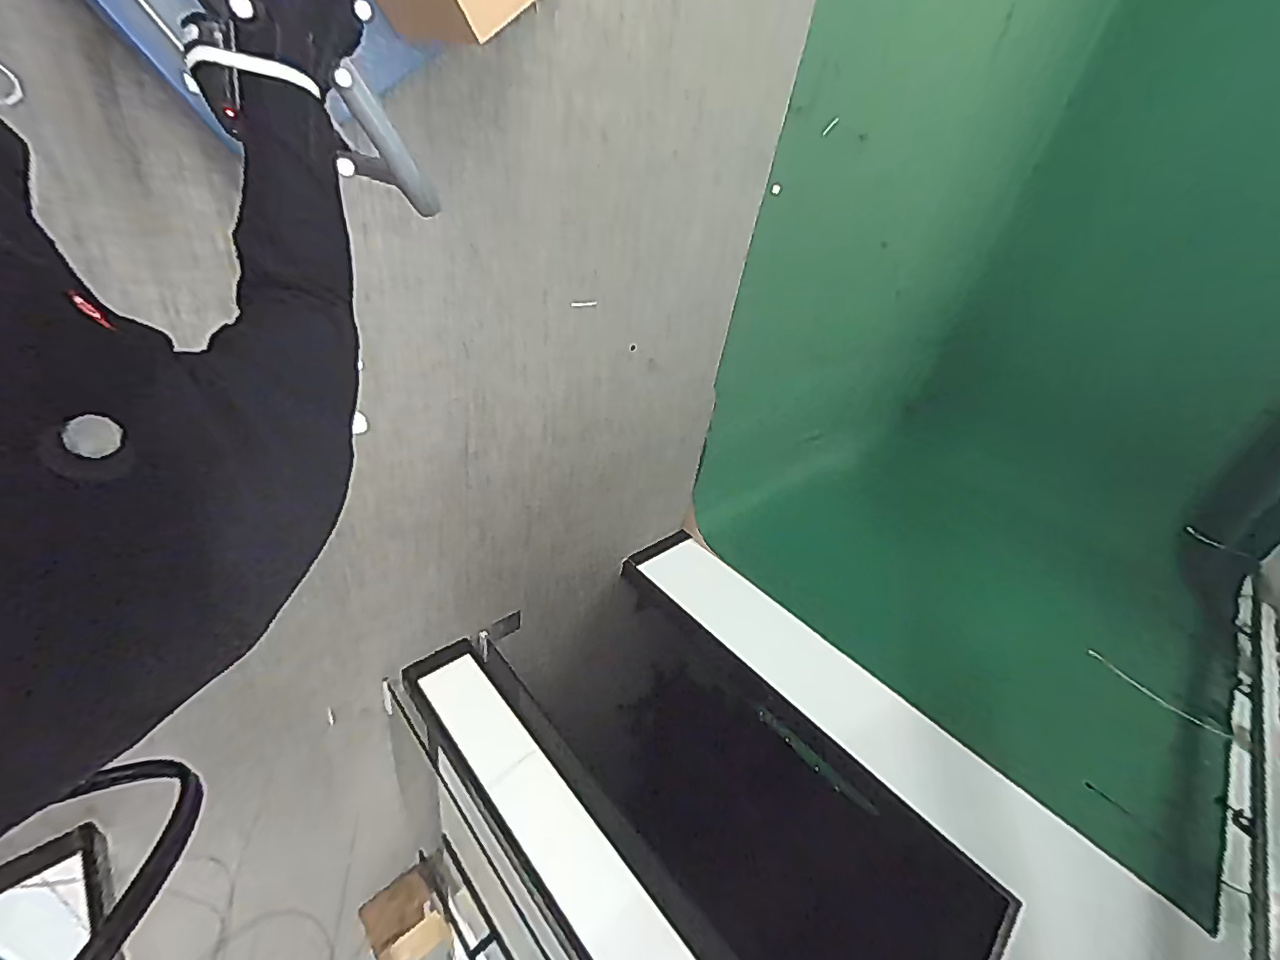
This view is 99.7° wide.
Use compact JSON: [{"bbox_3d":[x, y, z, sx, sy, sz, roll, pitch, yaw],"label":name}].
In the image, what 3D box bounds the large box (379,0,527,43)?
[{"bbox_3d":[-0.324,-0.961,0.796,0.320,0.320,0.408,-49,145,-8],"label":"large box"}]
